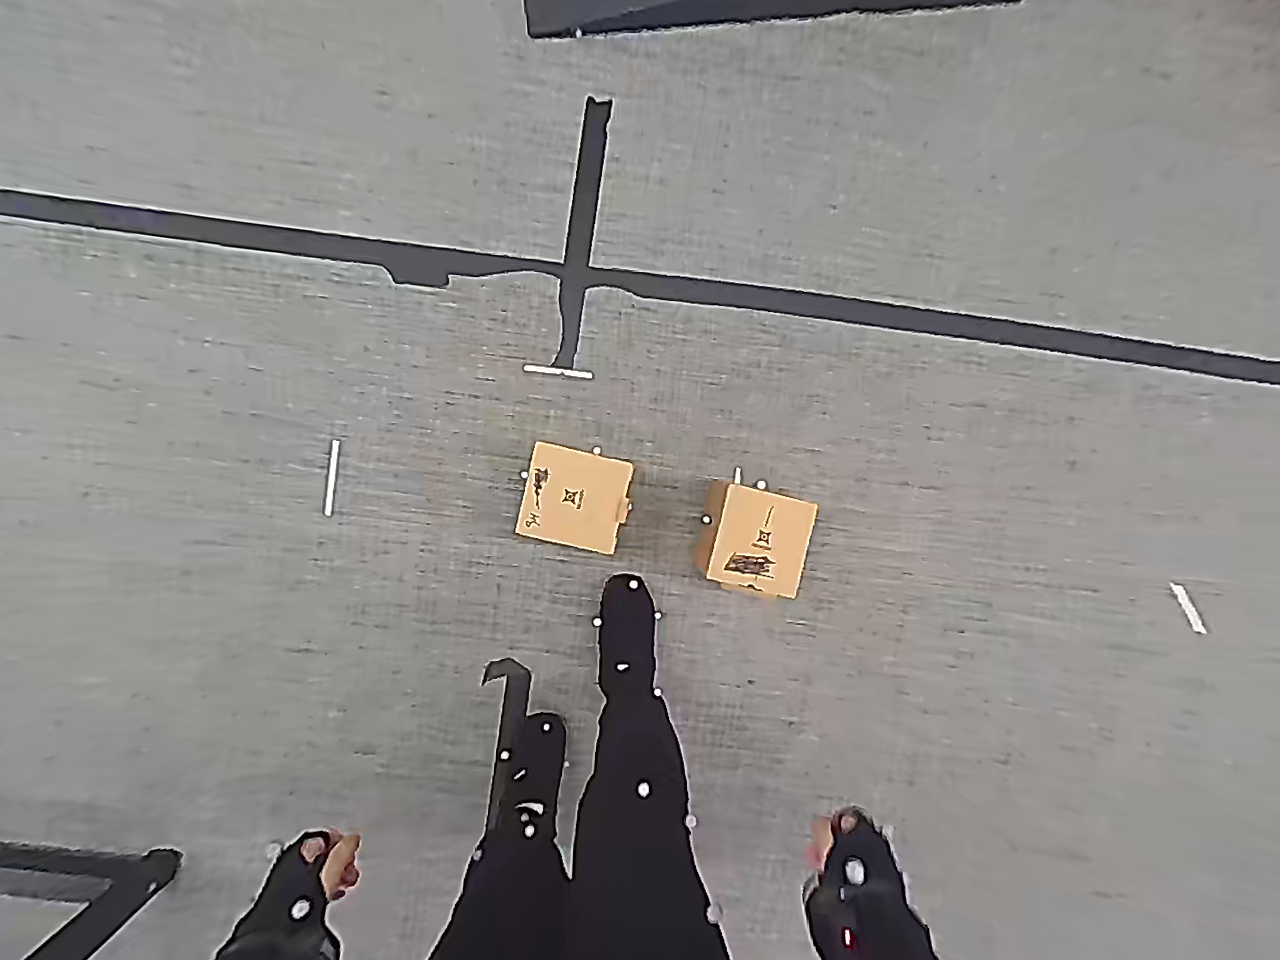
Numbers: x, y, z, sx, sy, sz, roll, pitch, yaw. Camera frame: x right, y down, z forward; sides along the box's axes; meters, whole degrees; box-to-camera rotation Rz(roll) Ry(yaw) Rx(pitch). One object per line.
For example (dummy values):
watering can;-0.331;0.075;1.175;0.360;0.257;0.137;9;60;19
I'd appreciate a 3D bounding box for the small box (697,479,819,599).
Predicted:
small box;0.211;0.103;1.020;0.168;0.176;0.179;14;91;-4

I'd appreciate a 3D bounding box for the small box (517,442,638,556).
small box;-0.112;0.028;1.000;0.179;0.176;0.168;14;92;-4
